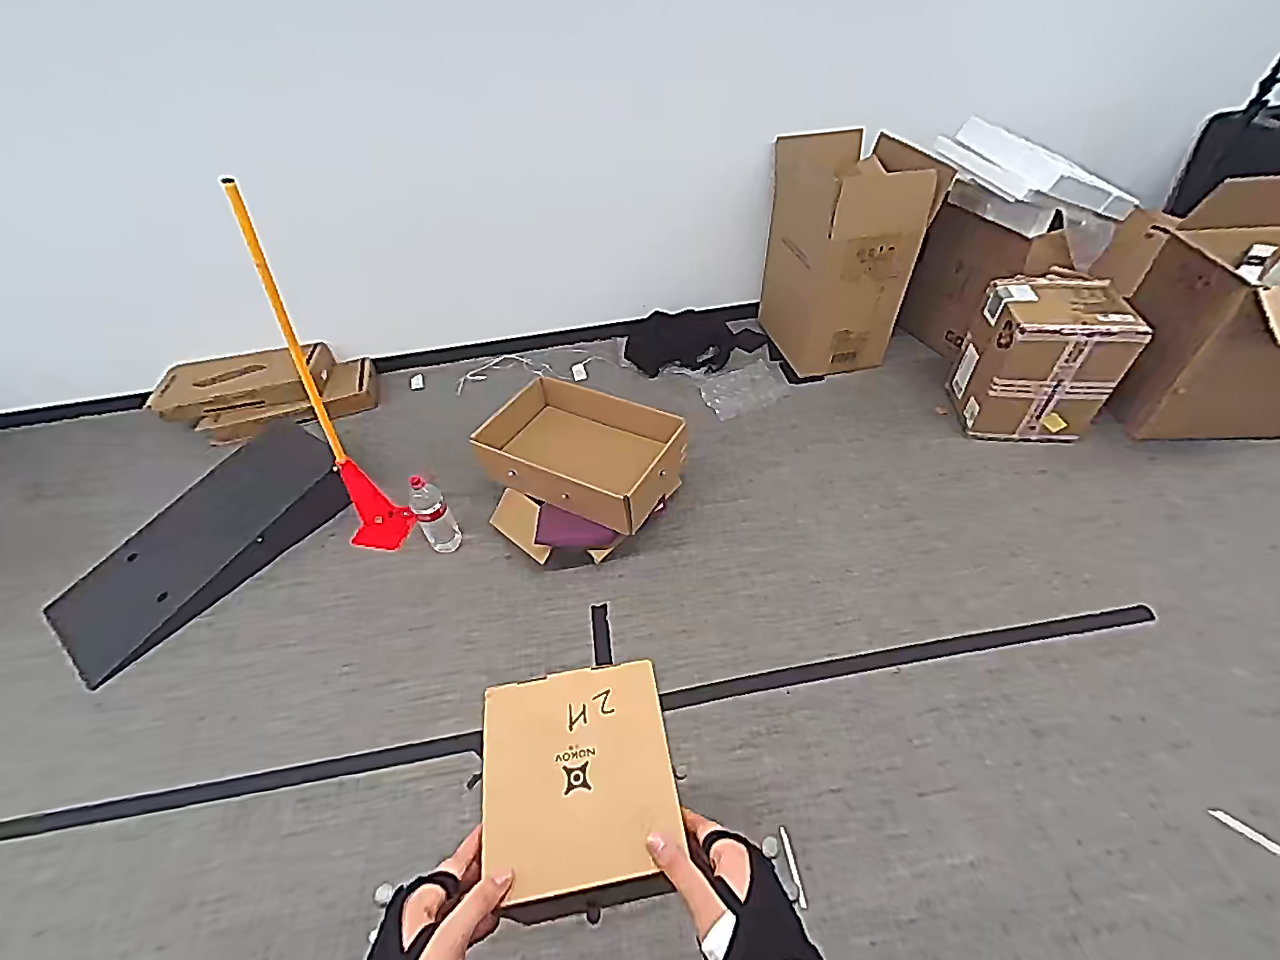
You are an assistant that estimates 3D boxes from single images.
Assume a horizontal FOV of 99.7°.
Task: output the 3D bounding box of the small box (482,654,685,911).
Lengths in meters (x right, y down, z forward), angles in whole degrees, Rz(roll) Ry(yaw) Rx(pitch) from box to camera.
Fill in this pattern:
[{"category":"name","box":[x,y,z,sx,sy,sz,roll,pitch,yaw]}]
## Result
[{"category":"small box","box":[-0.051,0.302,0.536,0.168,0.176,0.179,-9,47,-5]}]
